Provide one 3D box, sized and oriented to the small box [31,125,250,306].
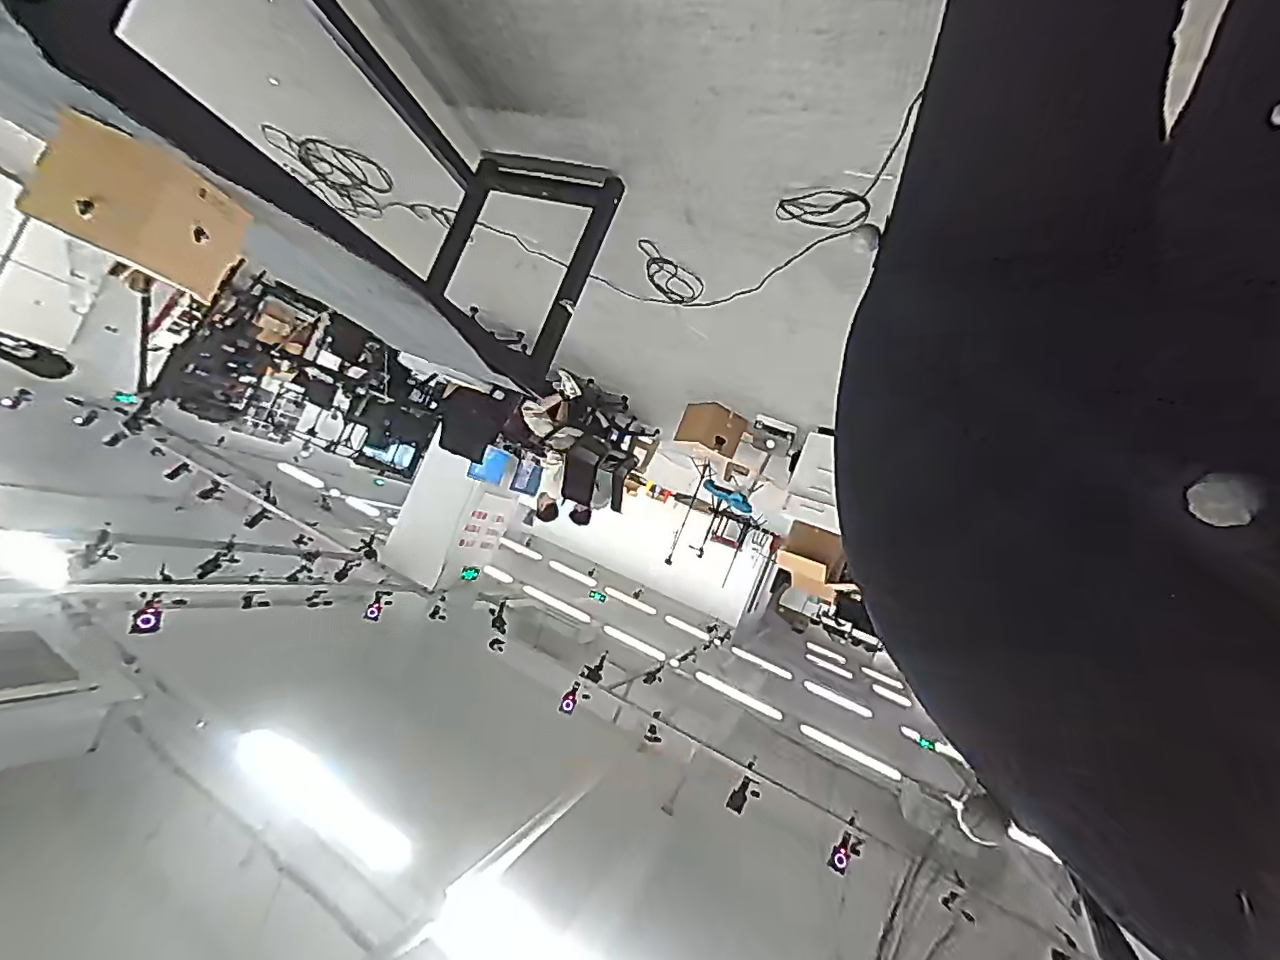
[{"bbox_3d":[-0.765,-0.412,0.855,0.179,0.176,0.168,25,176,0],"label":"small box"}]
